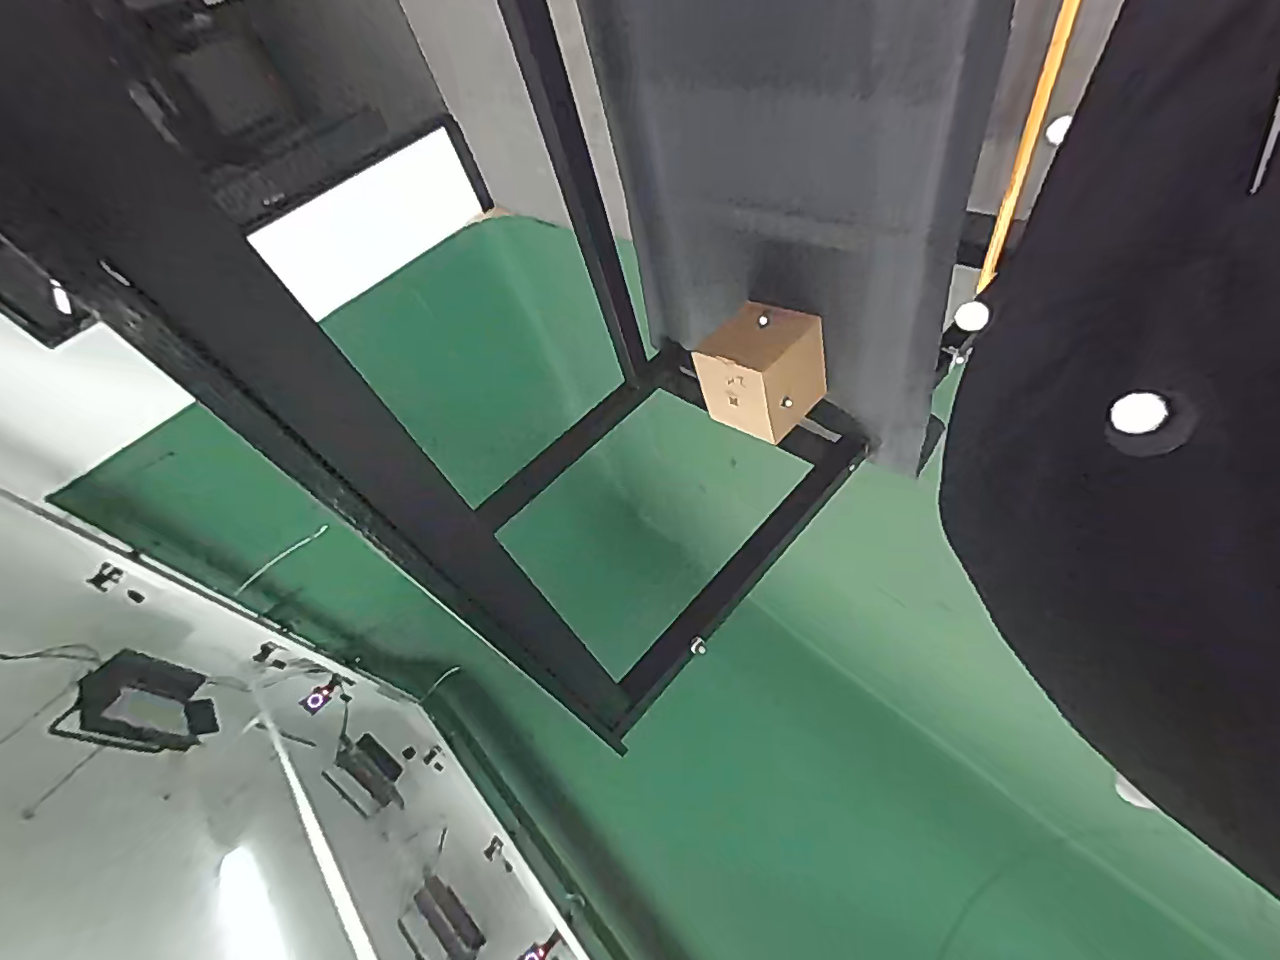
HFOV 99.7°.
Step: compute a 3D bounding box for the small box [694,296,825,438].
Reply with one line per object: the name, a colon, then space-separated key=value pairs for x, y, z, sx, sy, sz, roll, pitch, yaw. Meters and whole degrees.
small box: x=0.234 y=-0.218 z=1.027 sx=0.168 sy=0.176 sz=0.179 roll=30 pitch=156 yaw=40
